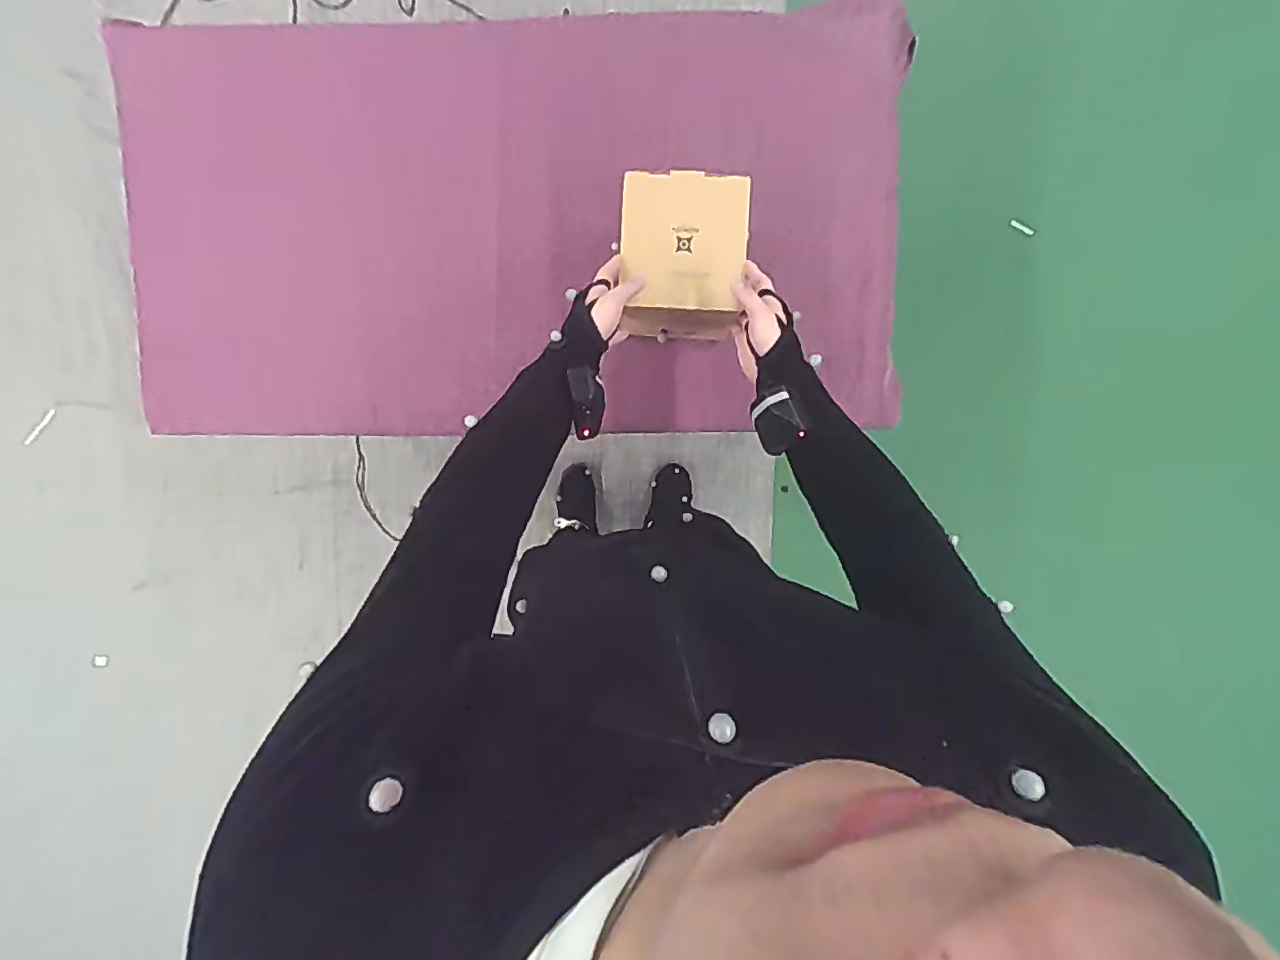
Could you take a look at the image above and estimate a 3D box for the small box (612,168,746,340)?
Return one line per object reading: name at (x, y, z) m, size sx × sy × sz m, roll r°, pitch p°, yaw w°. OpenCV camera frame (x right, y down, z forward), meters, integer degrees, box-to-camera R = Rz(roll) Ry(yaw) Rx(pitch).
small box at (0.049, -0.313, 0.778) m, size 0.168 × 0.176 × 0.179 m, roll 3°, pitch 92°, yaw 0°
